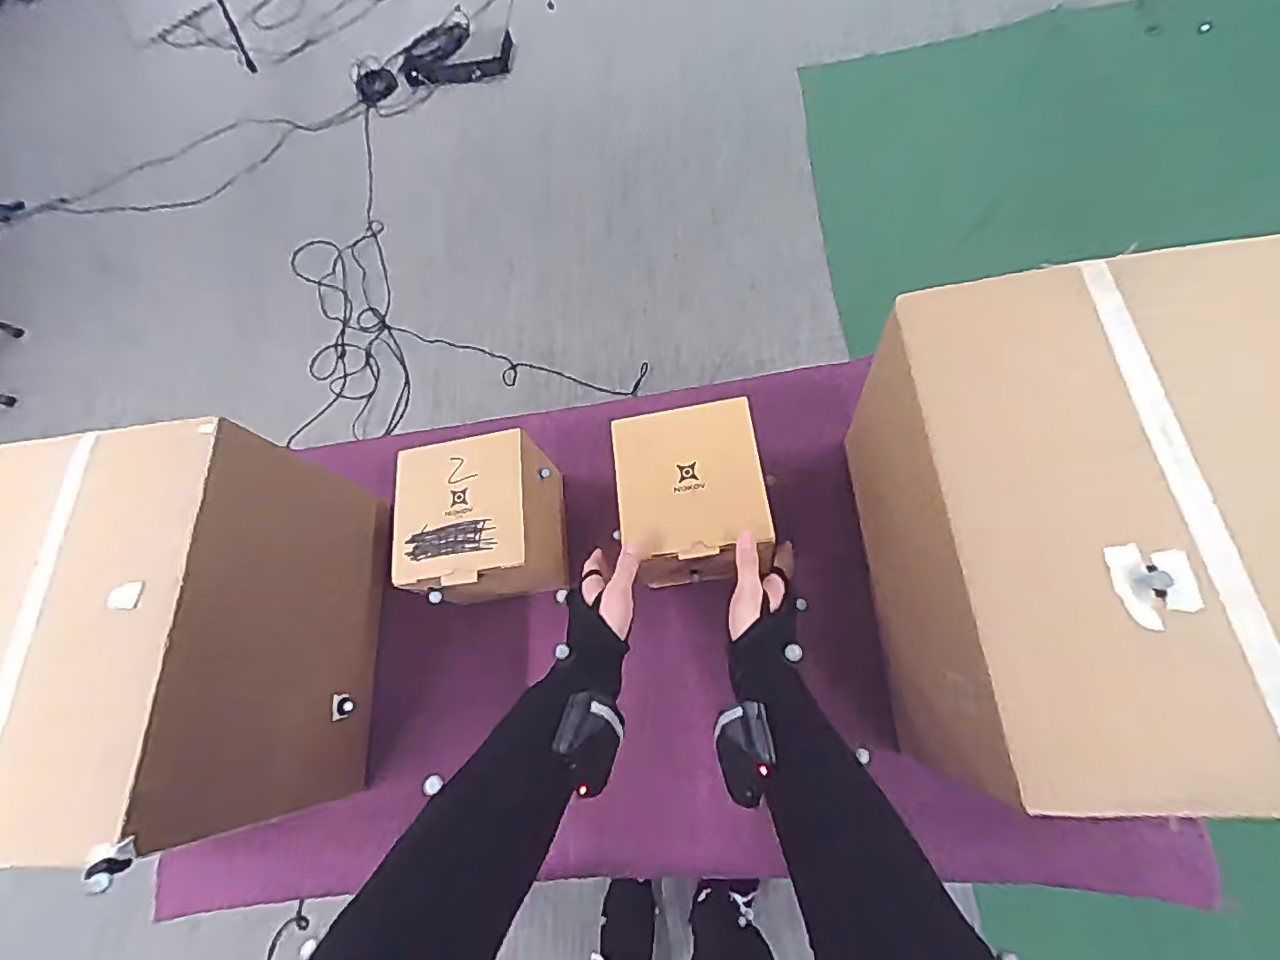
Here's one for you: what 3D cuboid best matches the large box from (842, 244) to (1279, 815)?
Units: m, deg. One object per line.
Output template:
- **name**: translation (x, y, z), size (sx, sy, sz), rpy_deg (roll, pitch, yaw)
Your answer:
- **large box**: translation (0.415, 0.058, 0.527), size (0.320, 0.320, 0.408), rpy_deg (-7, 69, 9)
